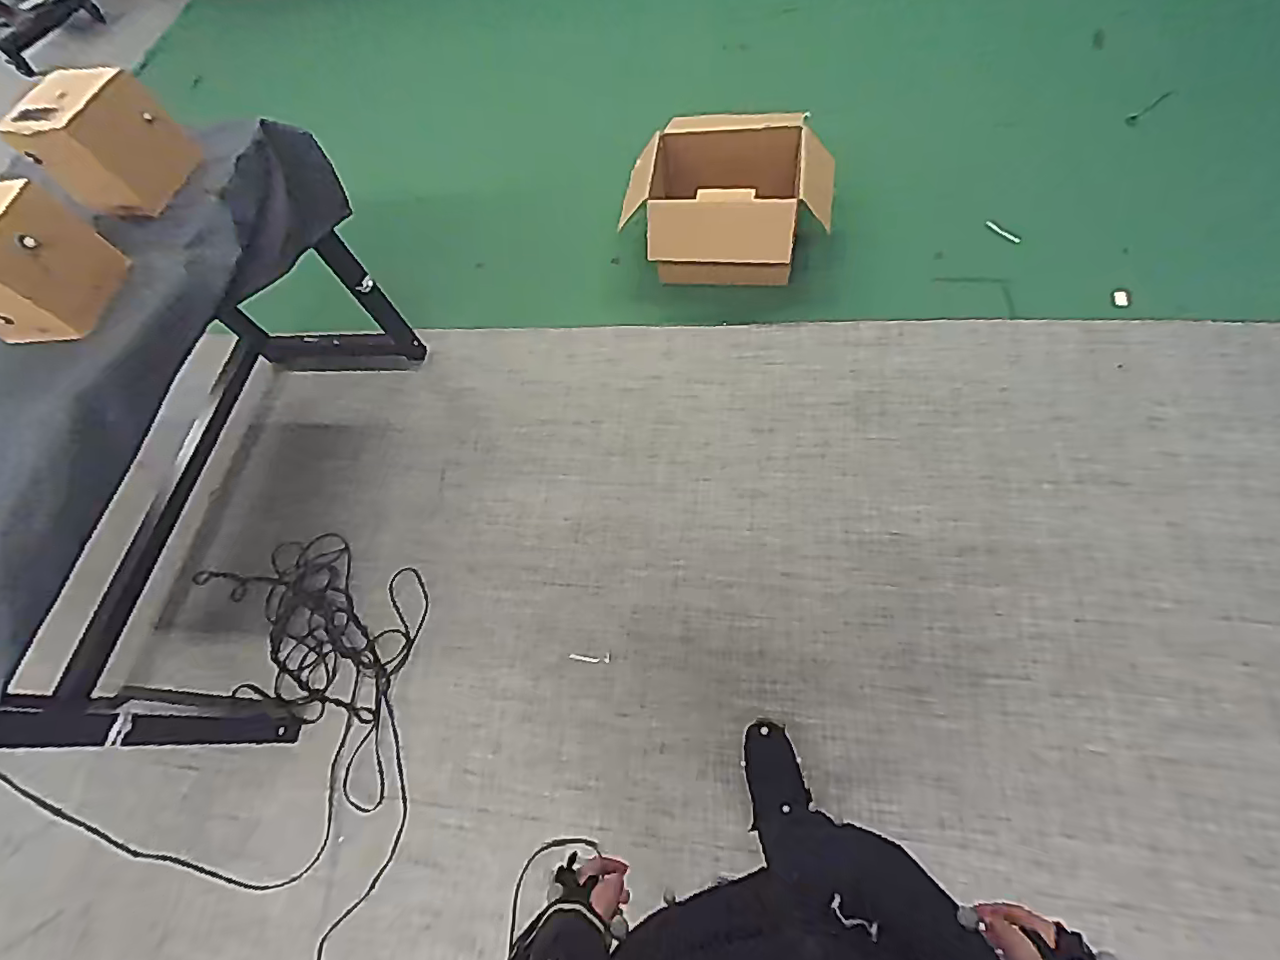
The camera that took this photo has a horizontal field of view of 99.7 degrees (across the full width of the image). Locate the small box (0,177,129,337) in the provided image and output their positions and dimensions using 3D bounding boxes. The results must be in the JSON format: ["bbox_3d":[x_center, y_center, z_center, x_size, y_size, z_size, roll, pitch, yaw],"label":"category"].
[{"bbox_3d":[-1.006,-0.357,0.882,0.168,0.176,0.179,0,66,9],"label":"small box"}]
